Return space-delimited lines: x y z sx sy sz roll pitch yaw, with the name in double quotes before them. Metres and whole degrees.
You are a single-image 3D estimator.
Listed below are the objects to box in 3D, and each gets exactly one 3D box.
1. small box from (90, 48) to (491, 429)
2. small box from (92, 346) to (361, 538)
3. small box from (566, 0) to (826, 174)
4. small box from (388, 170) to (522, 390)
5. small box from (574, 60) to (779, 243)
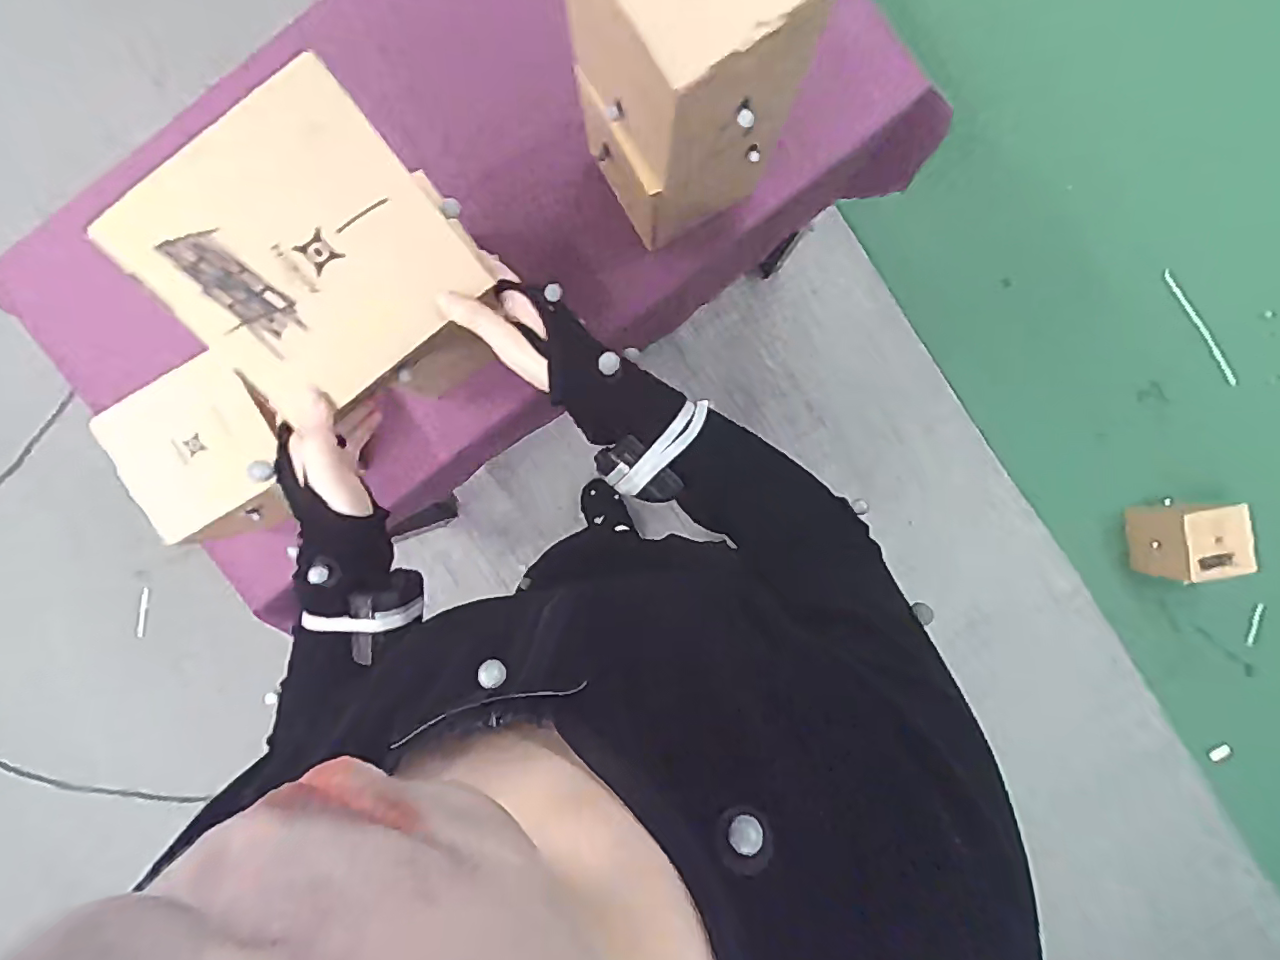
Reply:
"small box" -0.232 -0.168 0.423 0.179 0.176 0.168 -38 112 0
"small box" -0.501 -0.046 0.686 0.179 0.176 0.168 -30 93 1
"small box" 0.043 -0.426 0.505 0.168 0.176 0.179 -34 93 1
"small box" -0.266 -0.232 0.677 0.179 0.176 0.168 -34 91 2
"small box" 0.041 -0.430 0.669 0.179 0.176 0.168 -30 92 1
